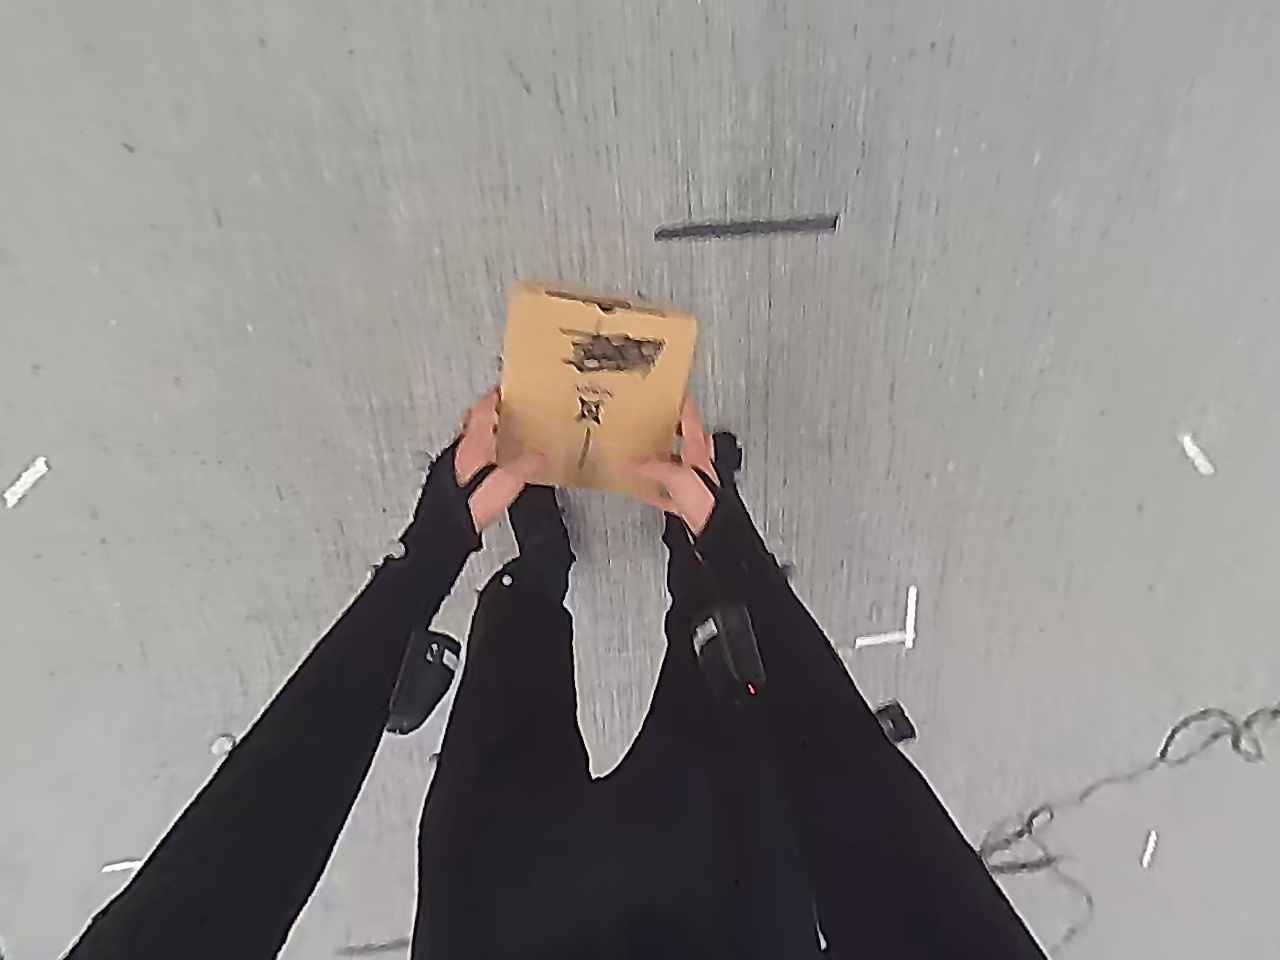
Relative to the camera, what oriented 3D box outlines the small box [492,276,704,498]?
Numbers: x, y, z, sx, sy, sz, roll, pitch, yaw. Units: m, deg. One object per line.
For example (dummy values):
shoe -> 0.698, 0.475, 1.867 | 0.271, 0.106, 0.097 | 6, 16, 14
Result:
small box -> -0.050, -0.102, 0.549 | 0.168, 0.176, 0.179 | 7, 112, -11
